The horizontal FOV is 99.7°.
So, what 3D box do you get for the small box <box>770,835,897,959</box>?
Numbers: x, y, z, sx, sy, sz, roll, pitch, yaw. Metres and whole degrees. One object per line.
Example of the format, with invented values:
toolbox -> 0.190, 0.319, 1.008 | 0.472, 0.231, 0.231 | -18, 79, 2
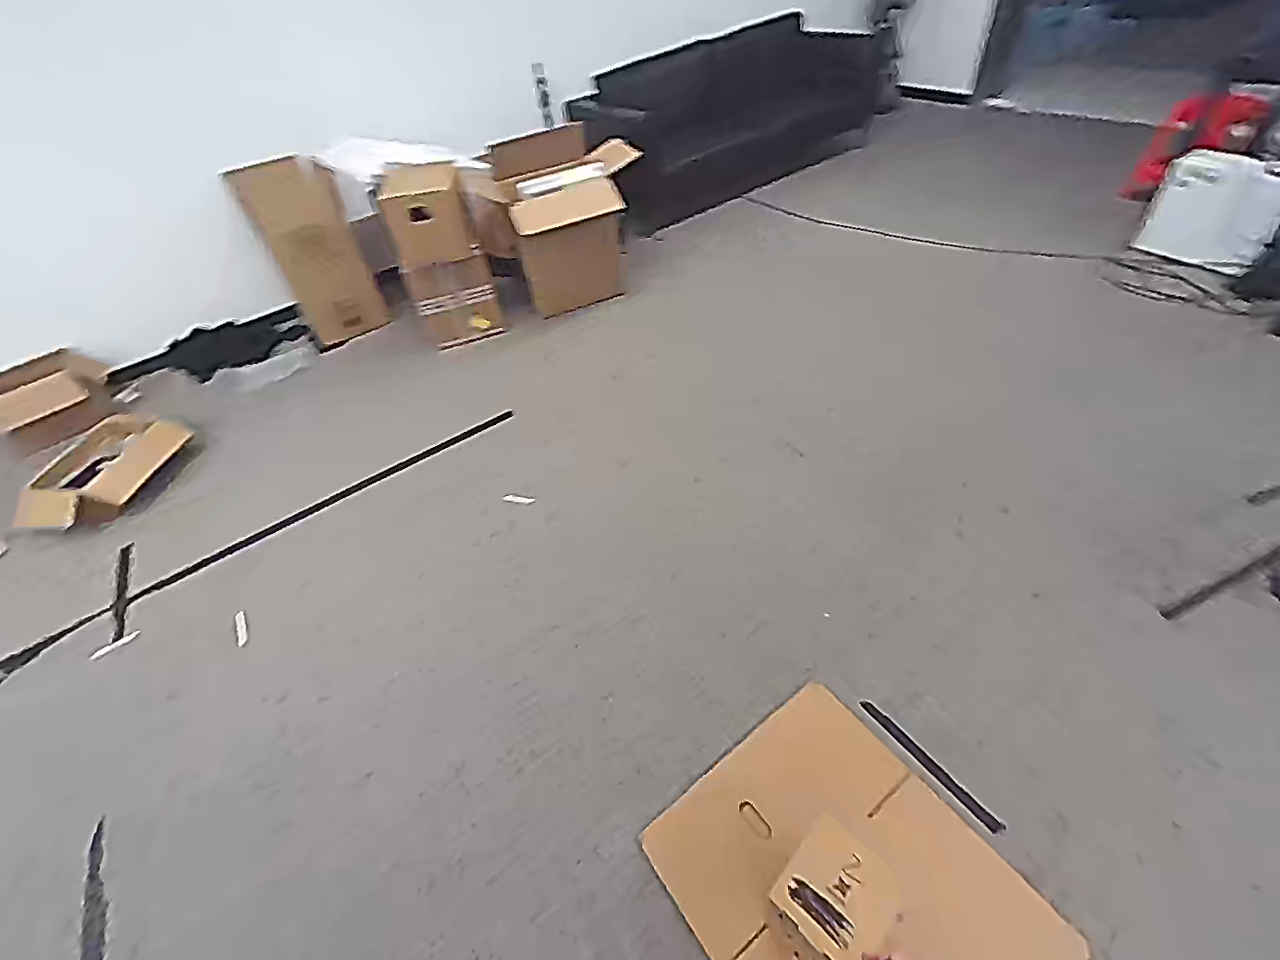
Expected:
small box -> 0.370, 0.852, 1.060 | 0.179, 0.176, 0.168 | -39, 49, -24
